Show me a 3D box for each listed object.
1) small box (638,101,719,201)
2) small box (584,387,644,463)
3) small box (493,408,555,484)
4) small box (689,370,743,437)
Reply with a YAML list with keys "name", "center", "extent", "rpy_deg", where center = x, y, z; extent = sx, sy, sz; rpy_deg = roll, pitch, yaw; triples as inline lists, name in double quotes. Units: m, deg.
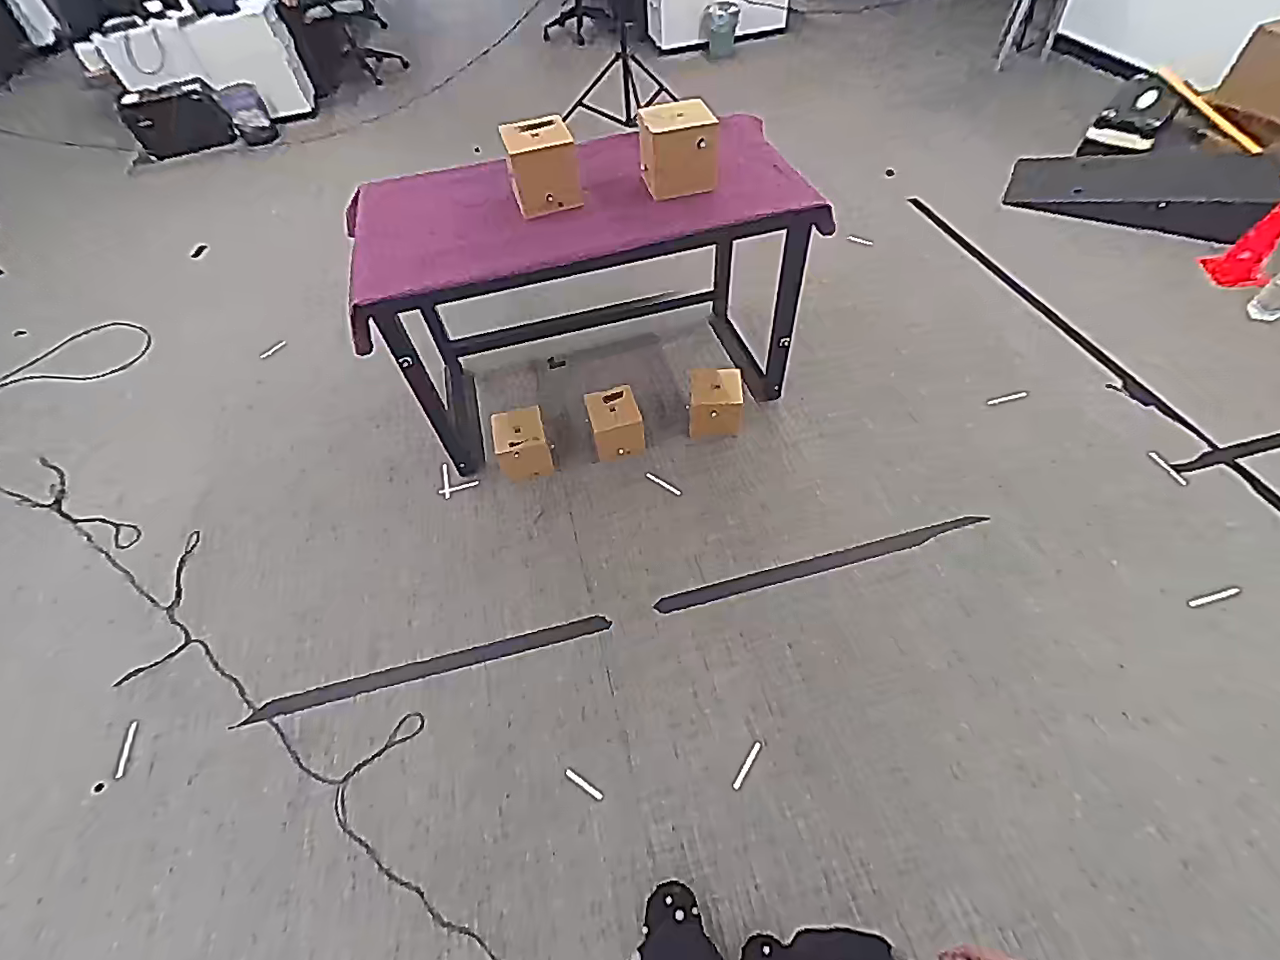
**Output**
- name: "small box"
  center: [0.100, -0.875, 1.443]
  extent: [0.179, 0.176, 0.168]
  rpy_deg: [-13, 53, -4]
- name: "small box"
  center: [-0.087, -0.188, 1.863]
  extent: [0.168, 0.176, 0.179]
  rpy_deg: [-15, 55, -6]
- name: "small box"
  center: [-0.394, -0.114, 1.837]
  extent: [0.168, 0.176, 0.179]
  rpy_deg: [-13, 53, -5]
- name: "small box"
  center: [0.261, -0.264, 1.890]
  extent: [0.179, 0.176, 0.168]
  rpy_deg: [-2, 55, 5]
